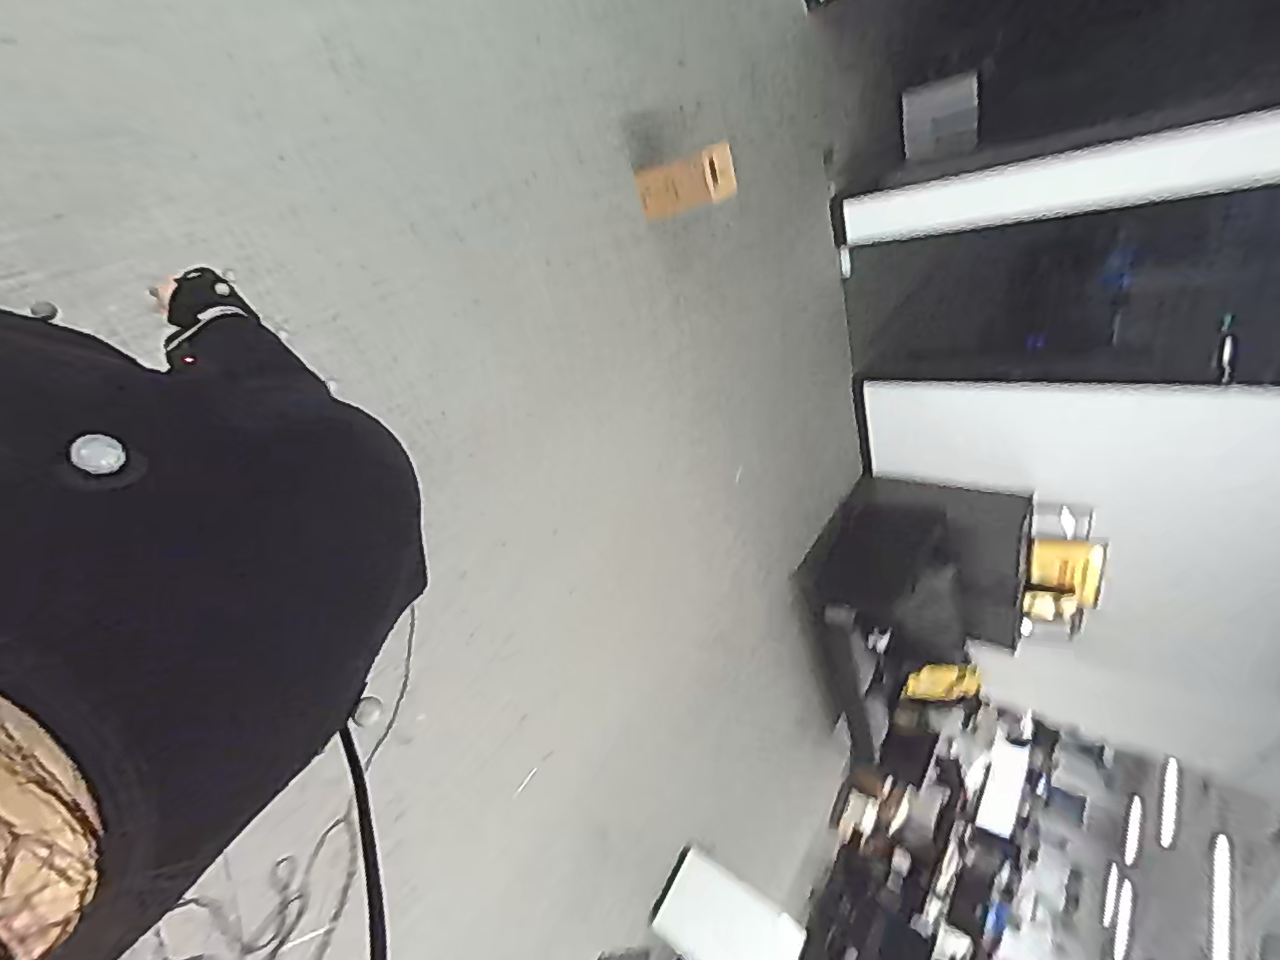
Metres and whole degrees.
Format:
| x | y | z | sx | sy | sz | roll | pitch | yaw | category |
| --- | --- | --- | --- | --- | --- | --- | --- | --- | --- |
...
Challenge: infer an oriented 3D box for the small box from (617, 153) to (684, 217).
| x | y | z | sx | sy | sz | roll | pitch | yaw | category |
| --- | --- | --- | --- | --- | --- | --- | --- | --- | --- |
| 0.040 | -1.139 | 2.092 | 0.179 | 0.176 | 0.168 | -44 | 129 | -34 | small box |
